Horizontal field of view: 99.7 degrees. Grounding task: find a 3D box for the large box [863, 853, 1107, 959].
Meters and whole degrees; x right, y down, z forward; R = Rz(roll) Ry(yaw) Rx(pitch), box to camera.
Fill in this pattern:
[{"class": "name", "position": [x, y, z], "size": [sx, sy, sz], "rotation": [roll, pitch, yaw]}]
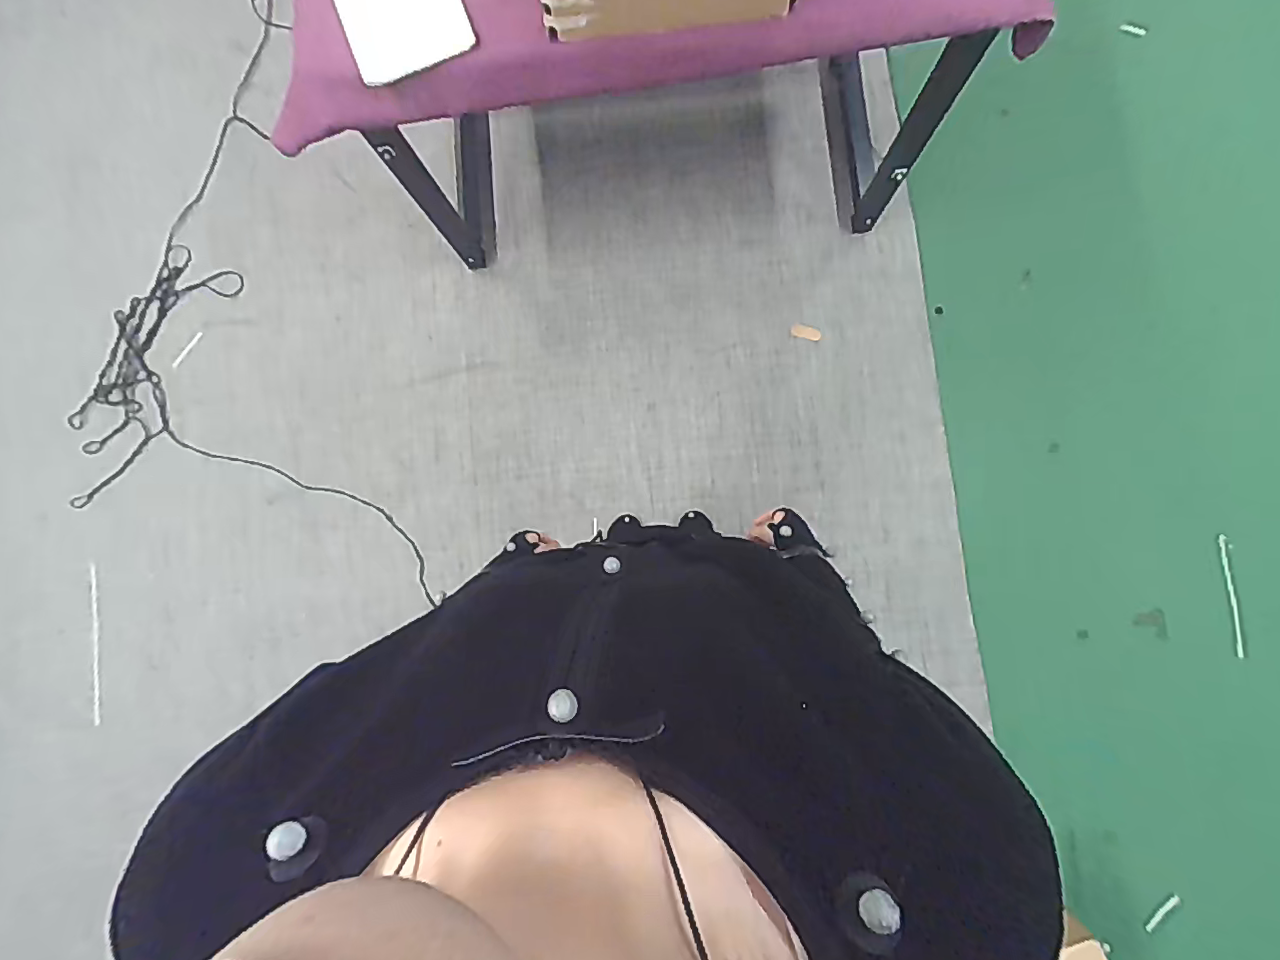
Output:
[{"class": "large box", "position": [0.799, 1.147, 1.229], "size": [0.408, 0.320, 0.320], "rotation": [-20, 84, 1]}]
